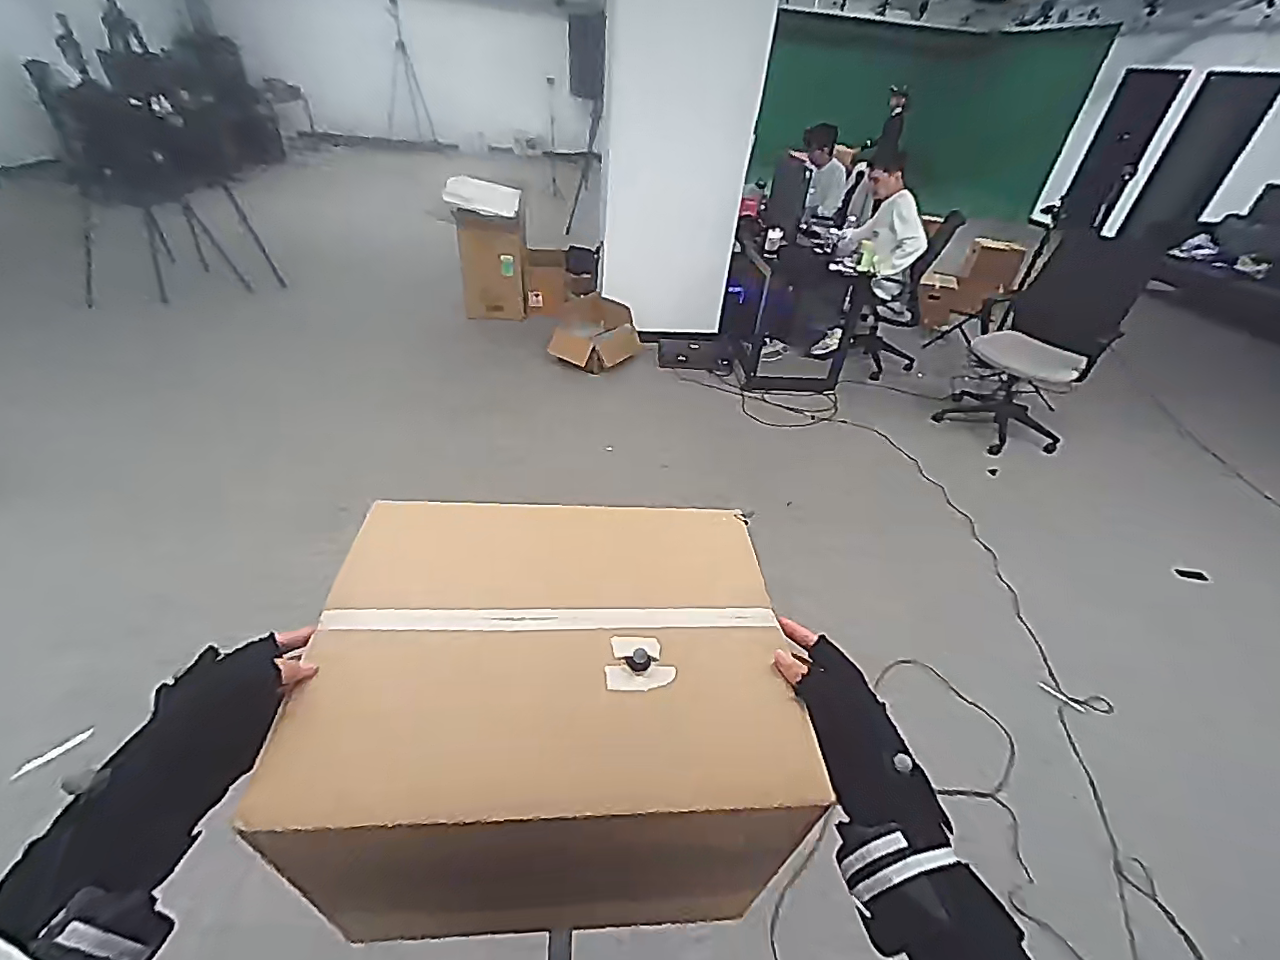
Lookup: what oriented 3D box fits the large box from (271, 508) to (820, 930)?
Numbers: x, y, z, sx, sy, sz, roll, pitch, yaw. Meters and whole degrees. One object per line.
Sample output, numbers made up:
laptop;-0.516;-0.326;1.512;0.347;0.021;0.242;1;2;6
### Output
large box;-0.085;0.248;0.595;0.408;0.320;0.320;2;40;-8
